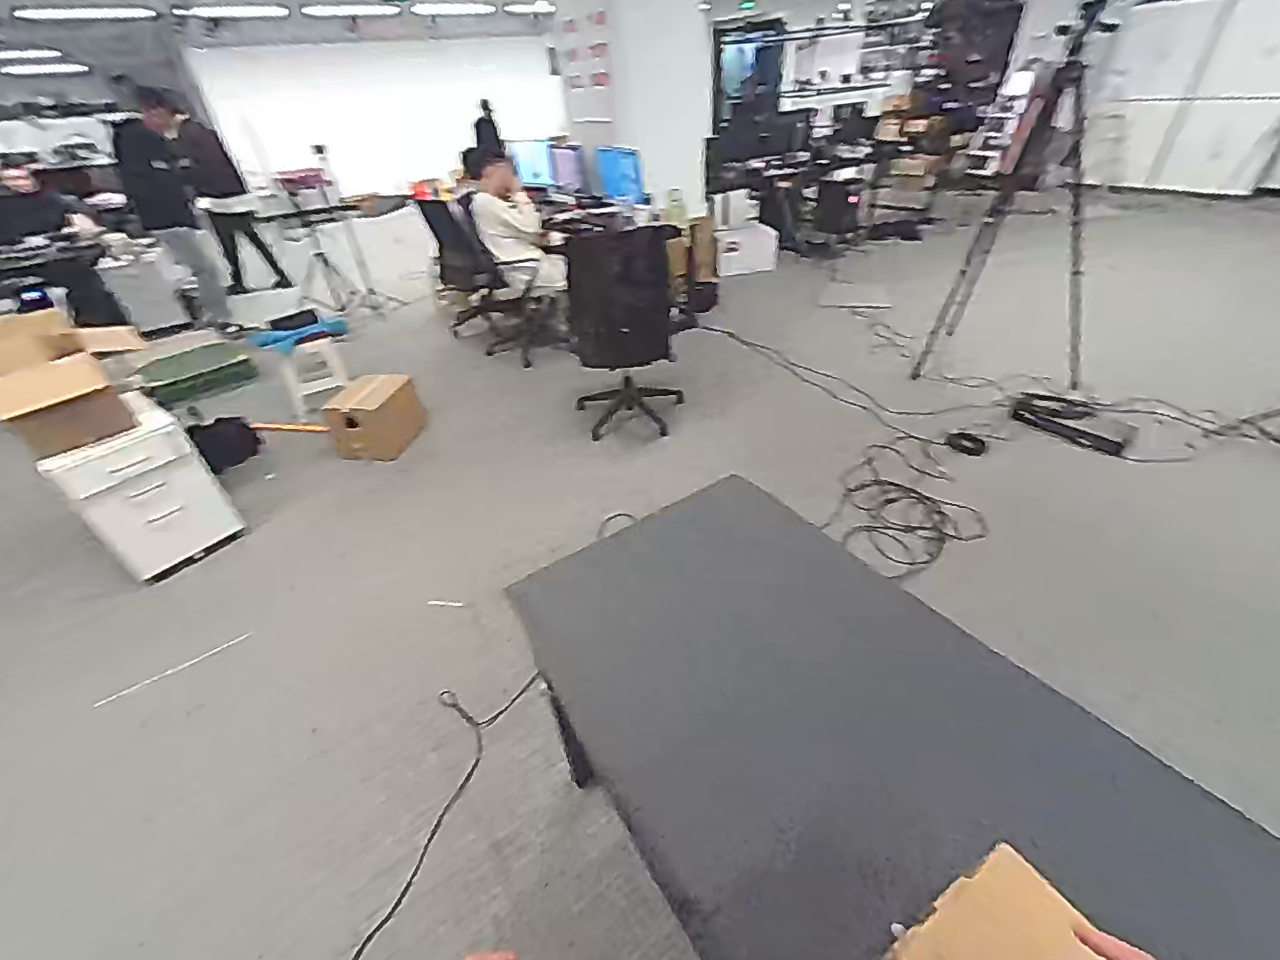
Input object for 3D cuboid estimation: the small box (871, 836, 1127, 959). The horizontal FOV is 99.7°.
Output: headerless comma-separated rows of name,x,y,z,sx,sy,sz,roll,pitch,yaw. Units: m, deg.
small box,0.329,0.483,0.490,0.168,0.176,0.179,-21,40,-22
